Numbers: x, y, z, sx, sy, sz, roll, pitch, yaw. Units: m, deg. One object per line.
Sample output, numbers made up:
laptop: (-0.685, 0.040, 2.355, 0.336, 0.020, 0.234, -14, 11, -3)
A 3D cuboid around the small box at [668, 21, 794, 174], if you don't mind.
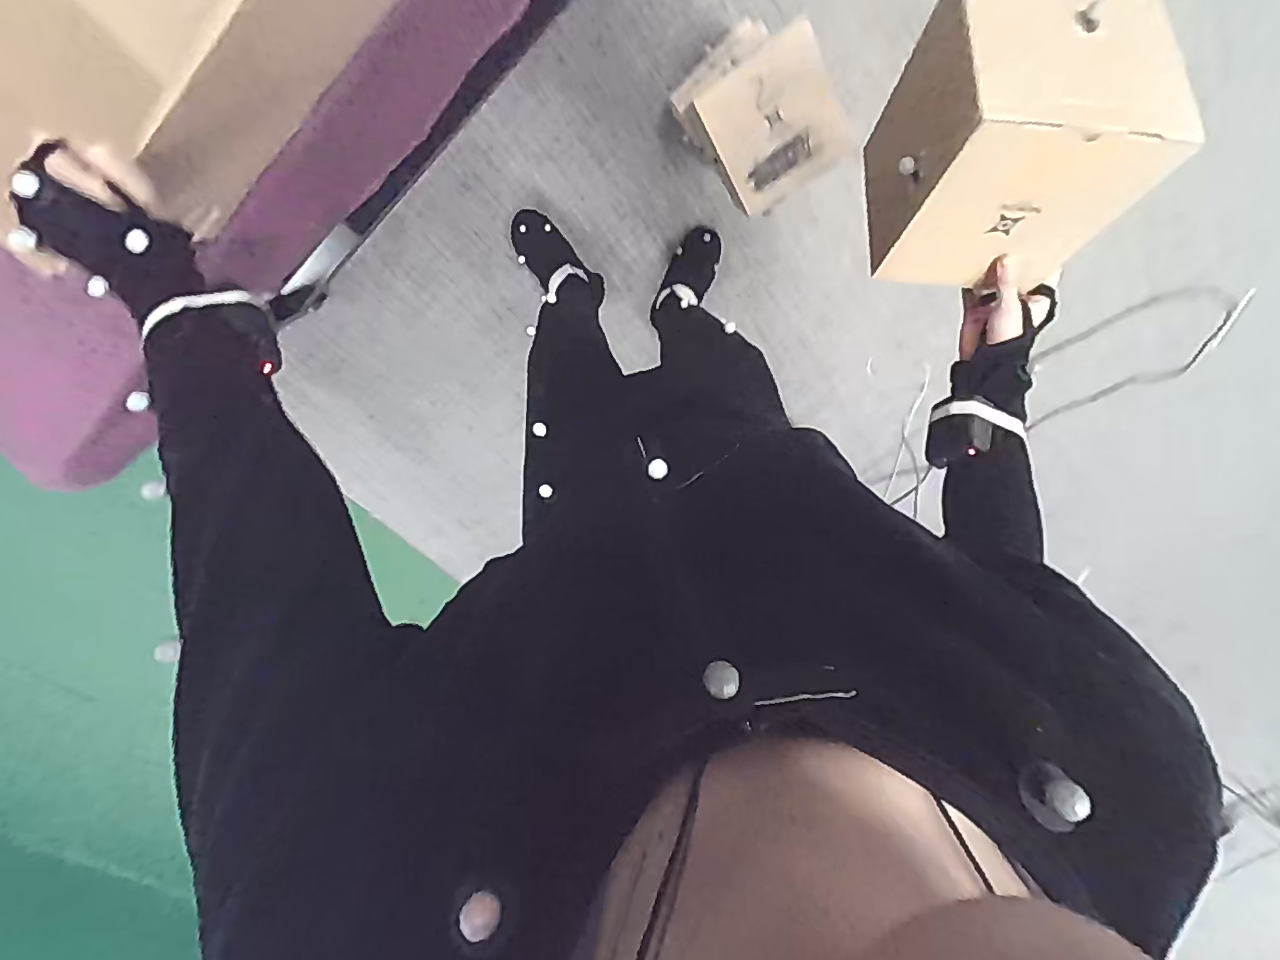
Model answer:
small box: (0.168, -0.738, 1.057, 0.179, 0.176, 0.168, -34, 117, 21)
